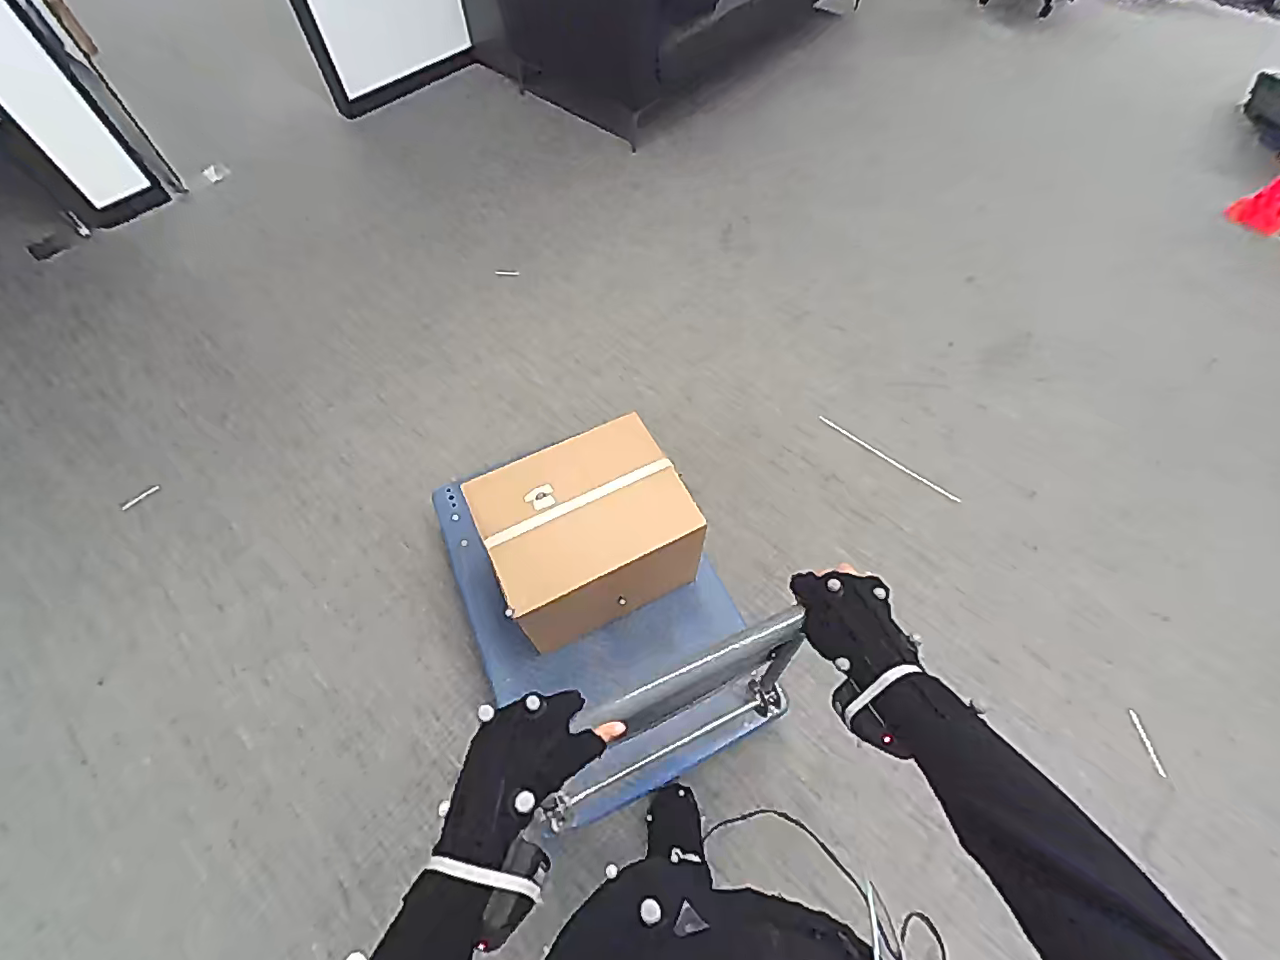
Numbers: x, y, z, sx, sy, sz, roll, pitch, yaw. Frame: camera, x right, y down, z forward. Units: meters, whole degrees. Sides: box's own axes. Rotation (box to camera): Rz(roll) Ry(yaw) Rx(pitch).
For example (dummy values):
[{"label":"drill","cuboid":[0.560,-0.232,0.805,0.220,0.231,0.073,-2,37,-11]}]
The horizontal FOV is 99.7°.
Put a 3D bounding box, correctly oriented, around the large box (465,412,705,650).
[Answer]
[{"label":"large box","cuboid":[-0.111,0.121,1.207,0.408,0.320,0.320,-26,62,-13]}]
